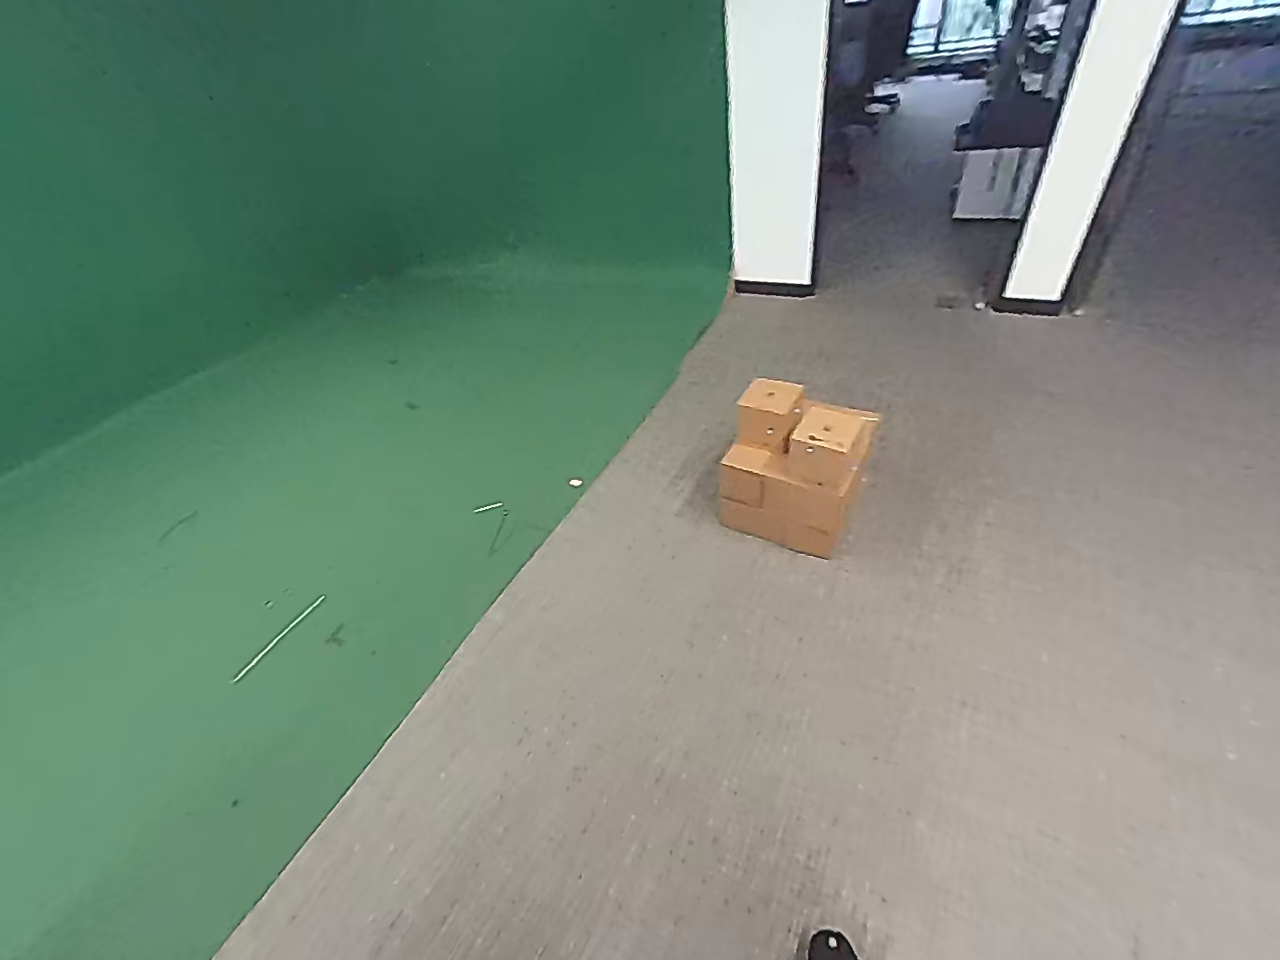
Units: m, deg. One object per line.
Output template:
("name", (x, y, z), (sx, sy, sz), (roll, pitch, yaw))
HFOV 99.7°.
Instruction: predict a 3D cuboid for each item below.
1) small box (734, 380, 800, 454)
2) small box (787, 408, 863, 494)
("small box", (0.428, -0.211, 1.815), (0.168, 0.176, 0.179), (17, 47, 28))
("small box", (0.557, -0.089, 1.645), (0.168, 0.176, 0.179), (19, 48, 29))
